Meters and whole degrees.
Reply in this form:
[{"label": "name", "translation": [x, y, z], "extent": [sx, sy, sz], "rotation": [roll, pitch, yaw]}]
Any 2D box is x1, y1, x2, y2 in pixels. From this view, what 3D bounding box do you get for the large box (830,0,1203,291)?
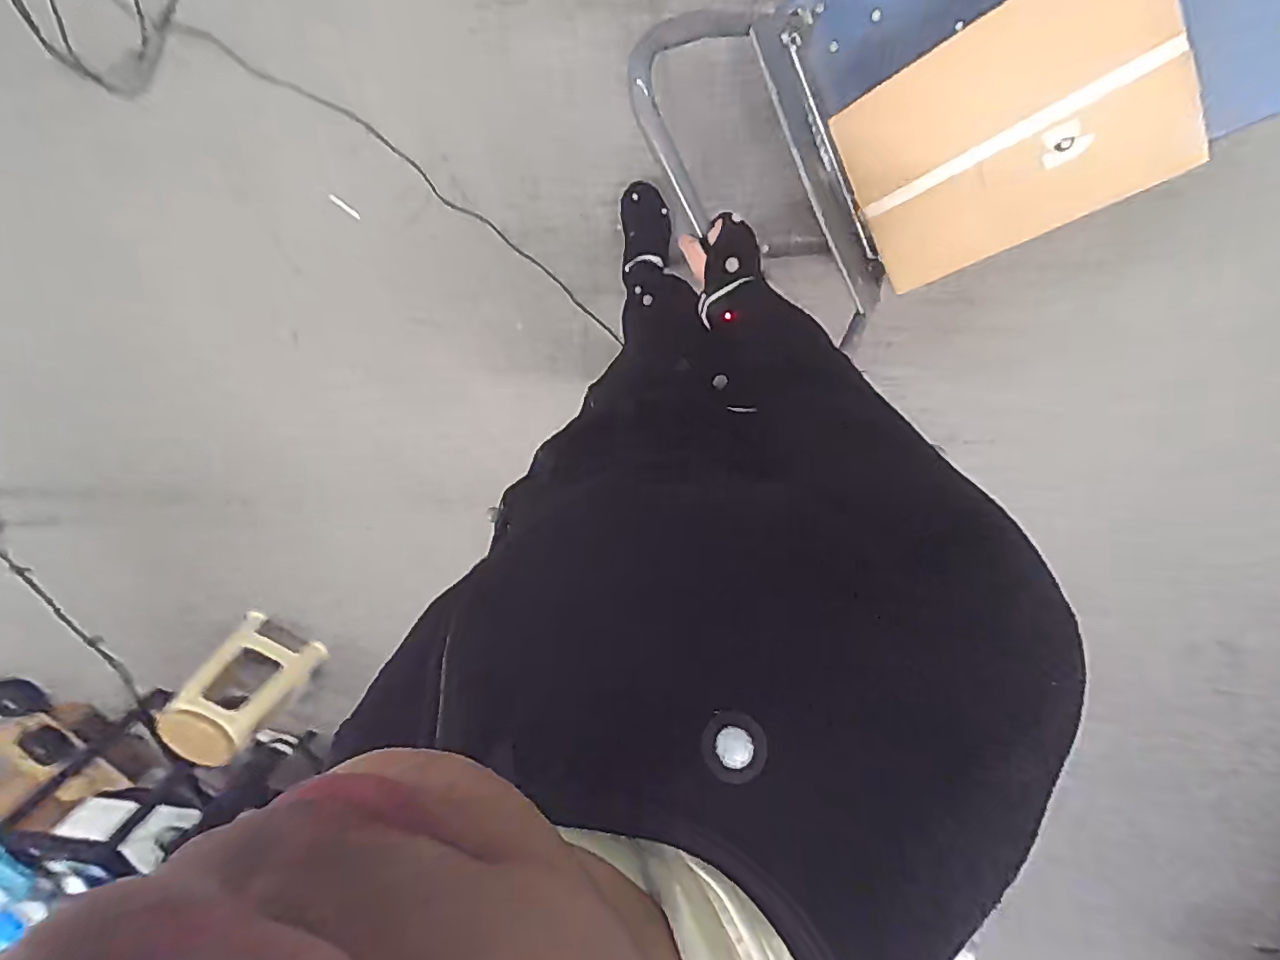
[{"label": "large box", "translation": [0.587, -0.582, 0.904], "extent": [0.408, 0.320, 0.320], "rotation": [-17, 114, 36]}]
